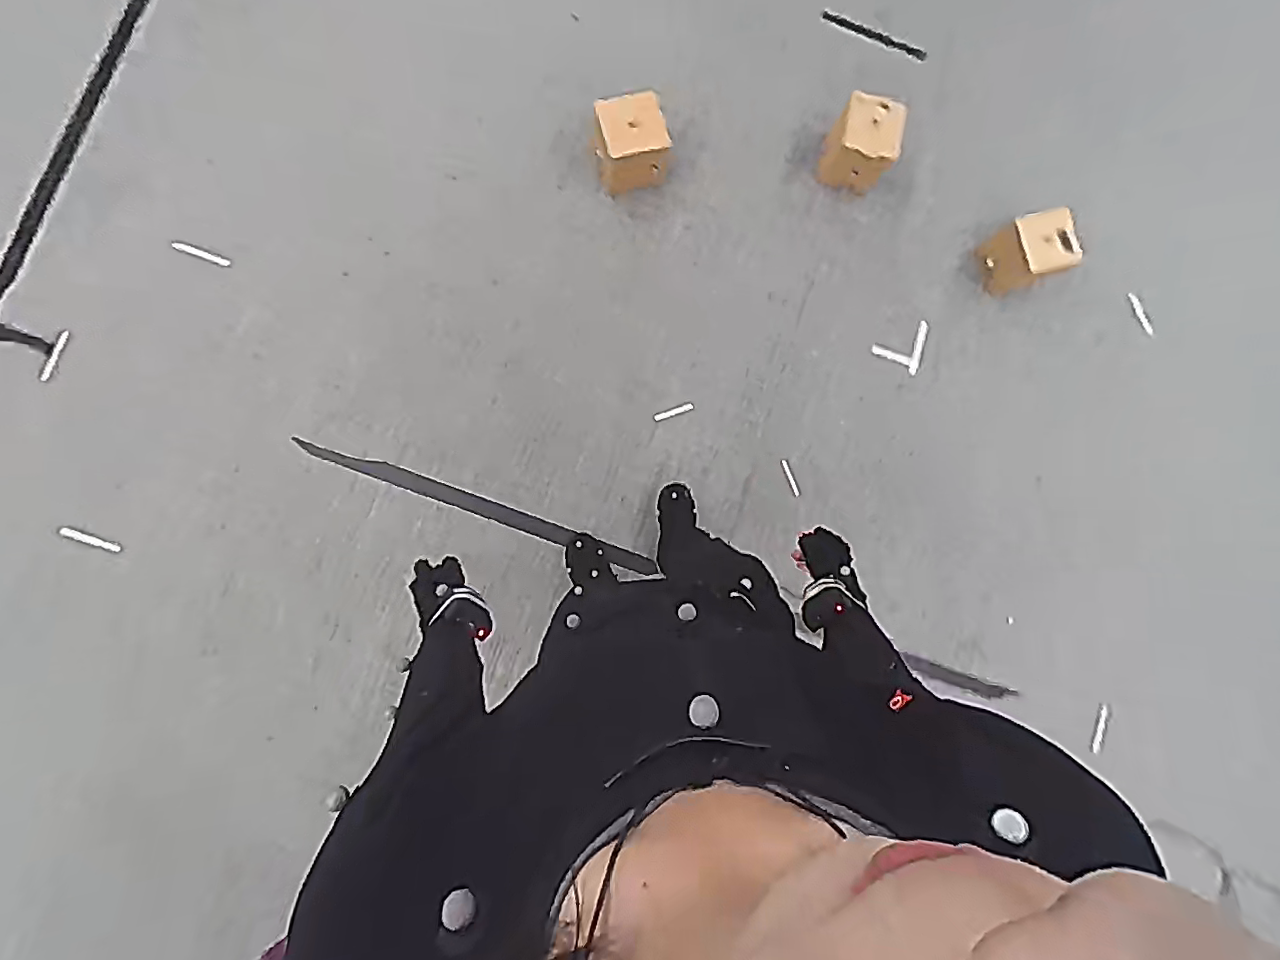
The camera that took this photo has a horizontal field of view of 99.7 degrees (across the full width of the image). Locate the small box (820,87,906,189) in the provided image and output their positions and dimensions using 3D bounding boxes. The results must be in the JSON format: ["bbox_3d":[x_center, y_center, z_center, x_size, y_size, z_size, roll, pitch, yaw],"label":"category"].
[{"bbox_3d":[0.653,-1.004,1.604,0.168,0.176,0.179,12,86,-5],"label":"small box"}]

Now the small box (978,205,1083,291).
[{"bbox_3d":[1.175,-0.696,1.637,0.179,0.176,0.168,-15,87,-6],"label":"small box"}]

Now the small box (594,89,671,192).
[{"bbox_3d":[-0.027,-0.954,1.531,0.179,0.176,0.168,-17,86,-6],"label":"small box"}]
